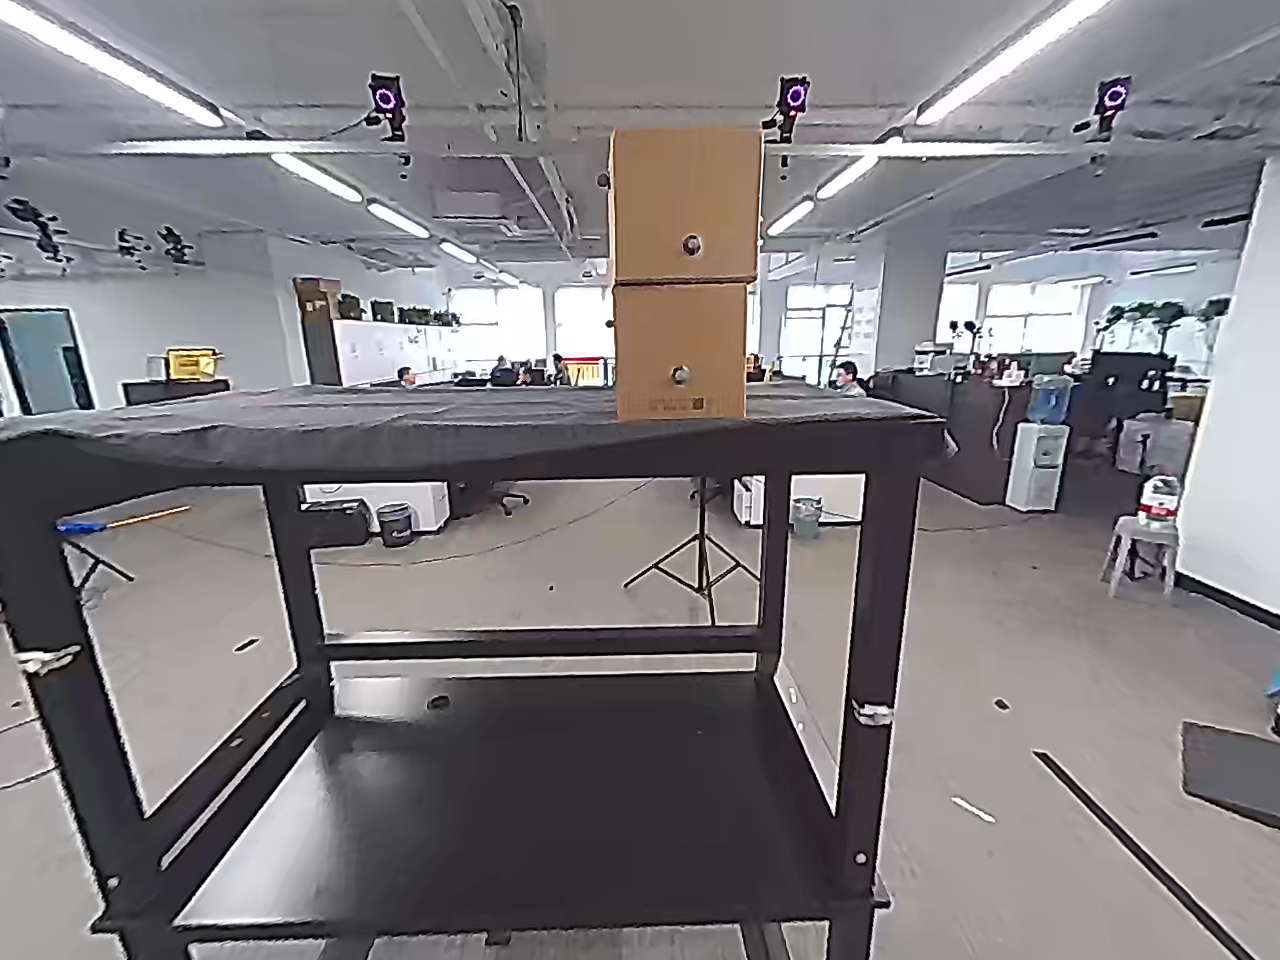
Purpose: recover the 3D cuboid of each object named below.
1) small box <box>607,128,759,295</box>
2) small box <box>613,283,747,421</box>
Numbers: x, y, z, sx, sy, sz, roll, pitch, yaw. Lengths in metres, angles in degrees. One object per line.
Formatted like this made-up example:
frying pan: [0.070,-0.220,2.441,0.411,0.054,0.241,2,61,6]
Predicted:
small box: [0.049,-0.336,0.703,0.179,0.176,0.168,-1,13,-4]
small box: [0.050,-0.176,0.754,0.168,0.176,0.179,-2,14,0]
